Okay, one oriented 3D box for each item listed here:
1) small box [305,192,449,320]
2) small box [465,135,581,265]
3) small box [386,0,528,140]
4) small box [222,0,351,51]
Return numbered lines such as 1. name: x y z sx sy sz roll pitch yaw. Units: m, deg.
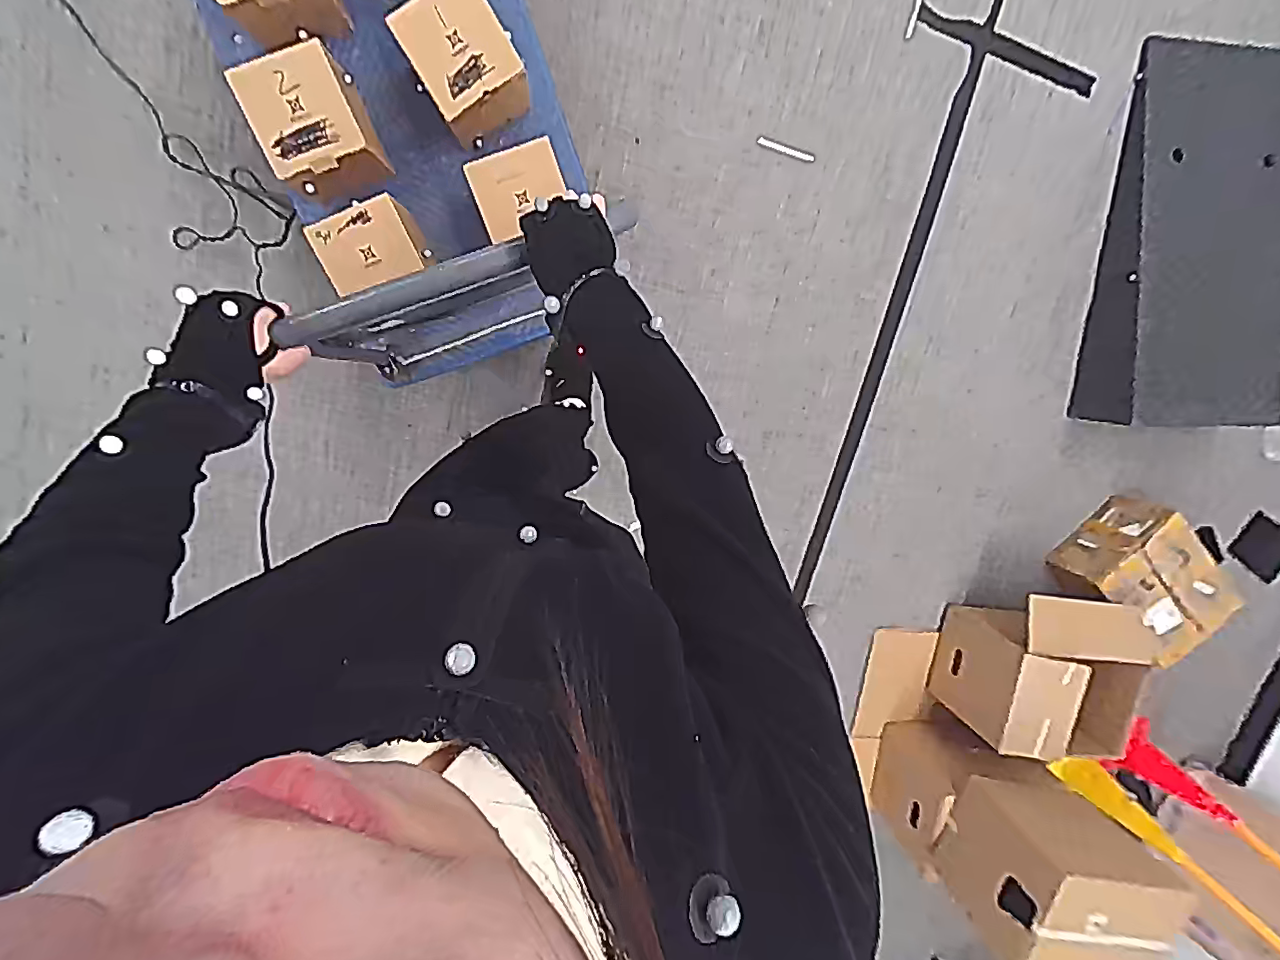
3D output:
1. small box: -0.499 -0.427 1.059 0.168 0.176 0.179 -25 107 -2
2. small box: -0.222 -0.539 1.070 0.168 0.176 0.179 -21 106 -3
3. small box: -0.321 -0.765 0.995 0.168 0.176 0.179 -32 106 1
4. small box: -0.632 -0.887 0.918 0.168 0.176 0.179 -19 107 -2
